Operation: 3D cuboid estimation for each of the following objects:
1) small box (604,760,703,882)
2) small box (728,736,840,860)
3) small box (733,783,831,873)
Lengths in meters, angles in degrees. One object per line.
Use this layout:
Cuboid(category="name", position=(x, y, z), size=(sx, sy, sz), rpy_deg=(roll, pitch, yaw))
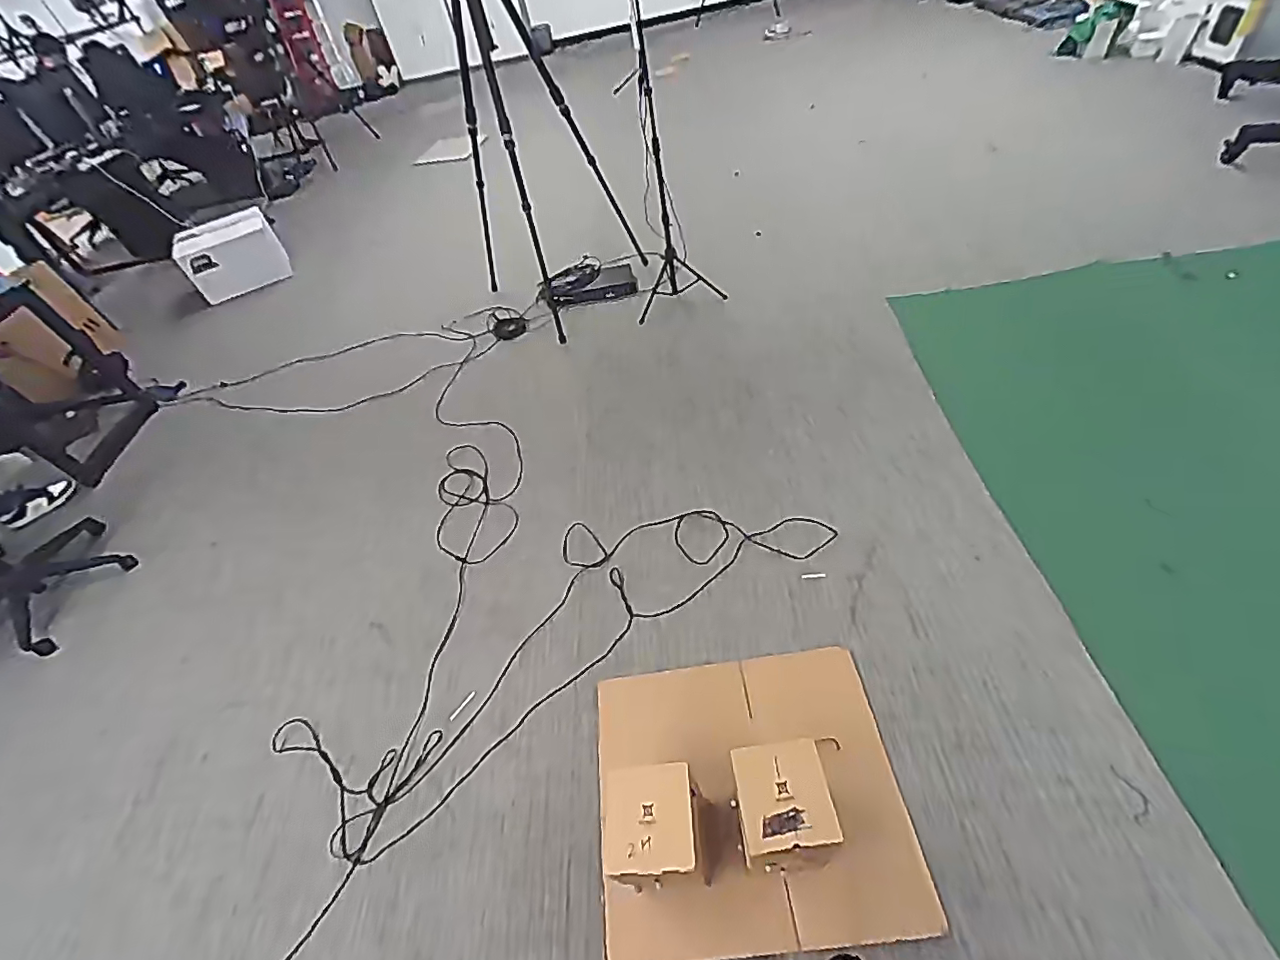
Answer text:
Cuboid(category="small box", position=(0.029, 0.670, 1.058), size=(0.168, 0.176, 0.179), rpy_deg=(-8, 49, 7))
Cuboid(category="small box", position=(0.272, 0.621, 1.049), size=(0.168, 0.176, 0.179), rpy_deg=(-11, 48, 3))
Cuboid(category="small box", position=(0.297, 0.730, 1.170), size=(0.168, 0.176, 0.179), rpy_deg=(-10, 49, 3))
